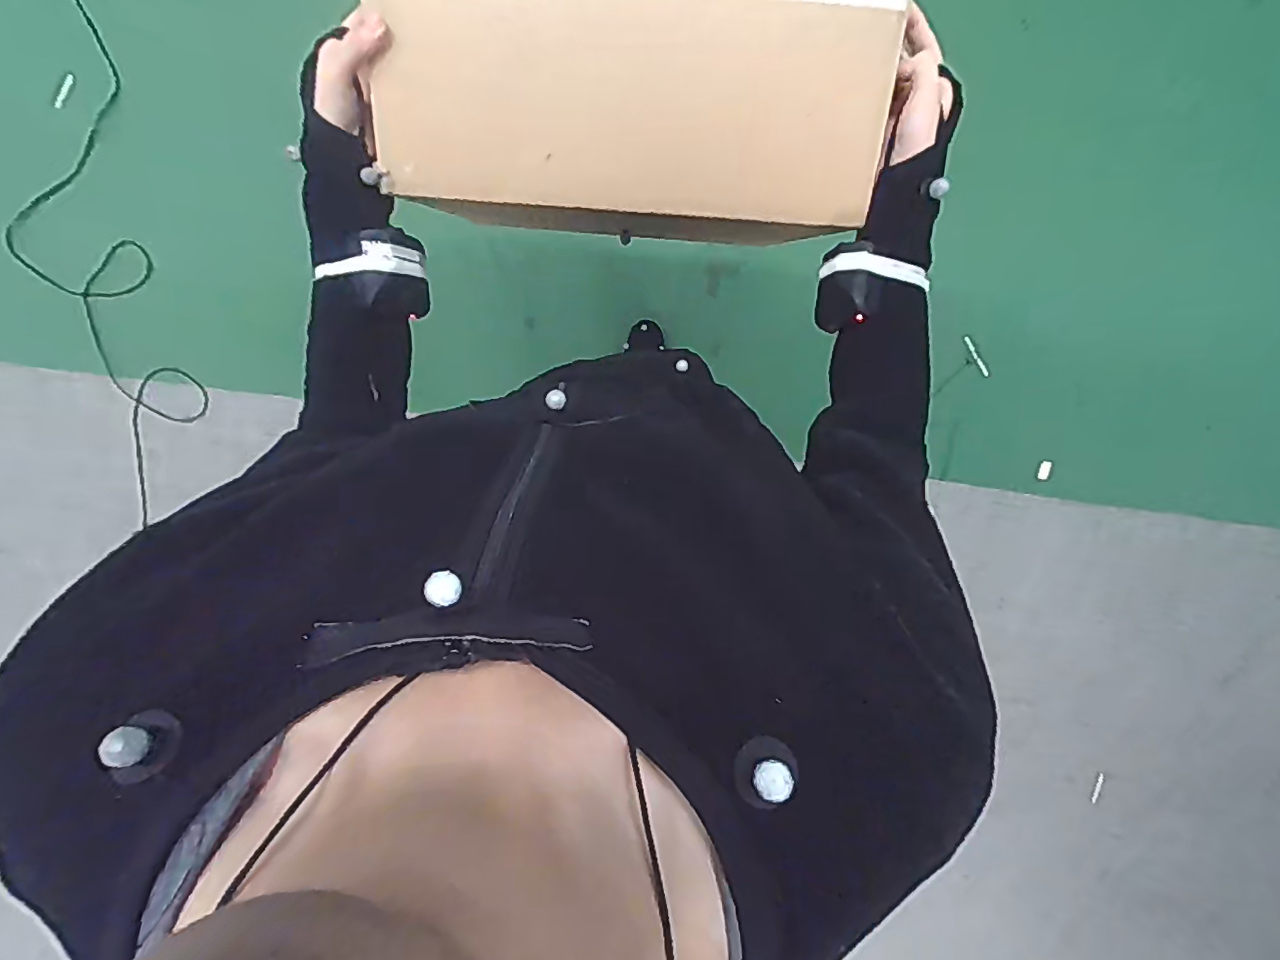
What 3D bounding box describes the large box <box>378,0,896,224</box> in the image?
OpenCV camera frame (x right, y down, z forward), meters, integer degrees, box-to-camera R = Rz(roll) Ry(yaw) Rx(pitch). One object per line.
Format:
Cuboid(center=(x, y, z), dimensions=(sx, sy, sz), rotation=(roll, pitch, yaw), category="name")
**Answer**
Cuboid(center=(-0.001, -0.439, 0.542), dimensions=(0.408, 0.320, 0.320), rotation=(2, 111, -3), category="large box")
